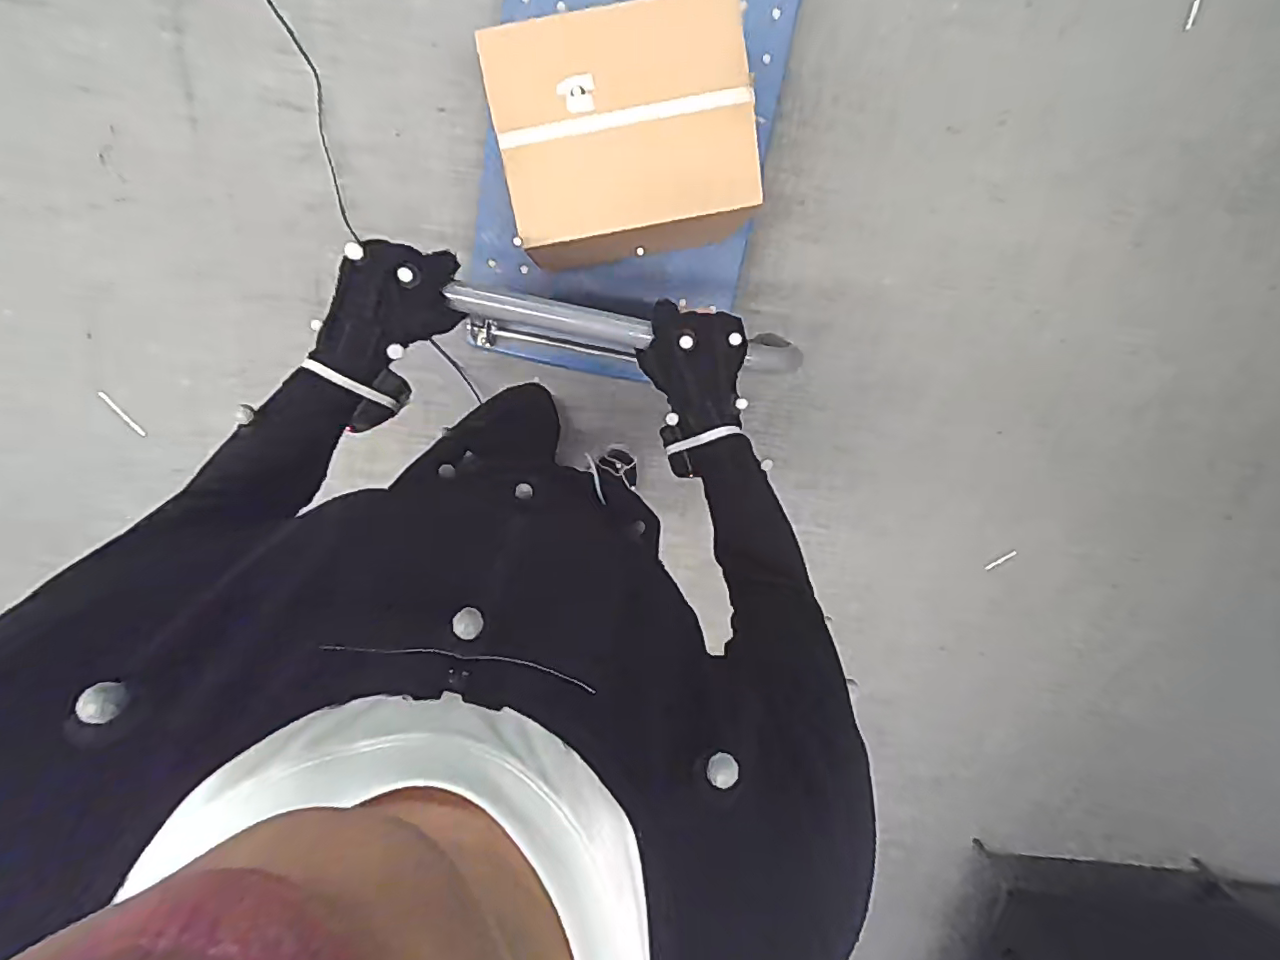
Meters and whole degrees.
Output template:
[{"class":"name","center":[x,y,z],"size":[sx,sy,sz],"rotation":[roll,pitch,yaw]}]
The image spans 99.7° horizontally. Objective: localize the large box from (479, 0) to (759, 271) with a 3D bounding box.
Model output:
[{"class":"large box","center":[-0.029,-0.599,1.001],"size":[0.408,0.320,0.320],"rotation":[-11,104,1]}]
